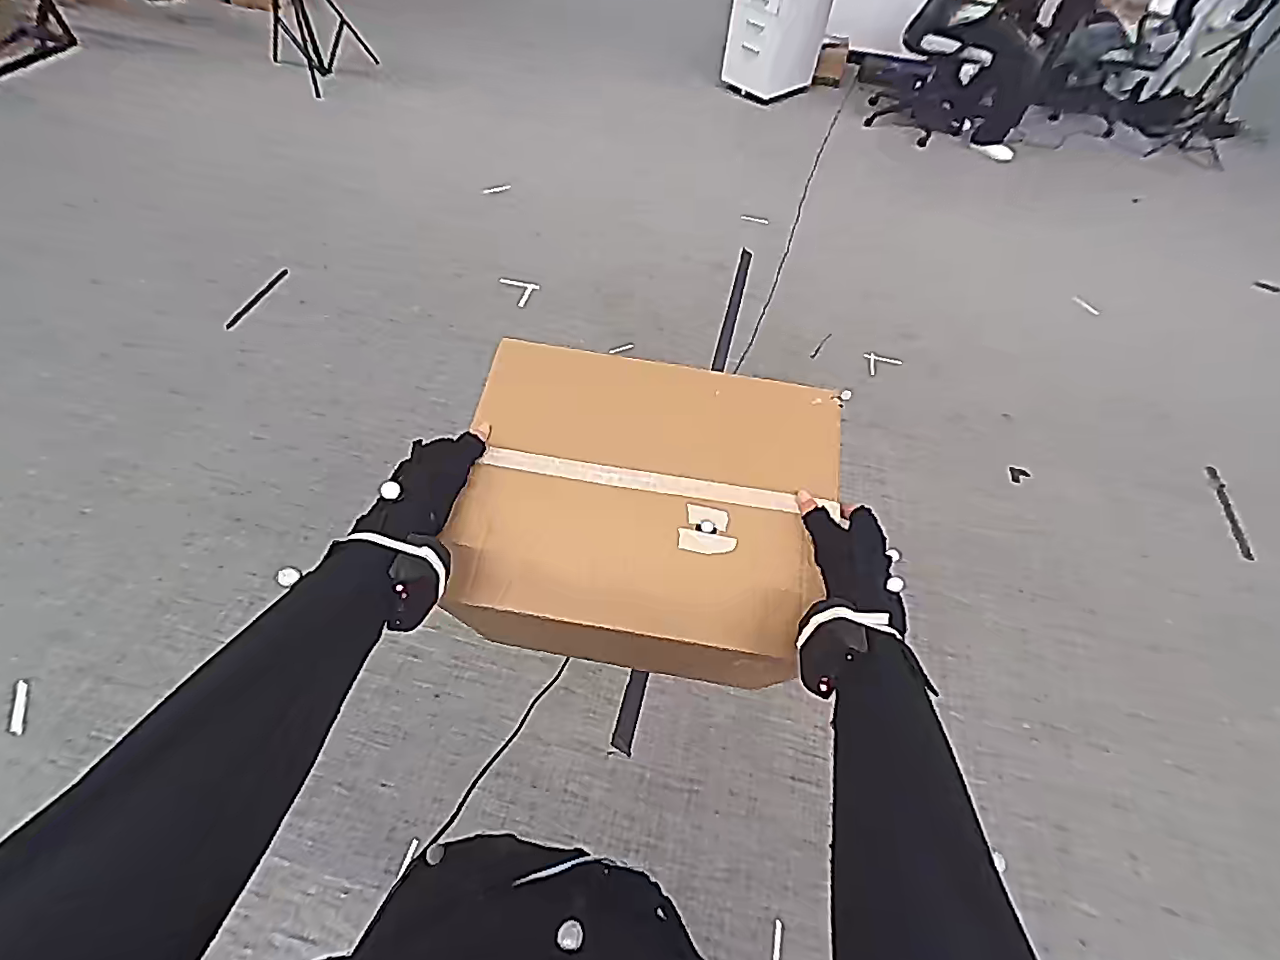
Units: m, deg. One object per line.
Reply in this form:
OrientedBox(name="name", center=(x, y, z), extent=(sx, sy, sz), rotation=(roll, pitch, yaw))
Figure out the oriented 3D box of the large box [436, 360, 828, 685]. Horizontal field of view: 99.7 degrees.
OrientedBox(name="large box", center=(0.001, 0.079, 0.732), extent=(0.408, 0.320, 0.320), rotation=(9, 66, 1))
